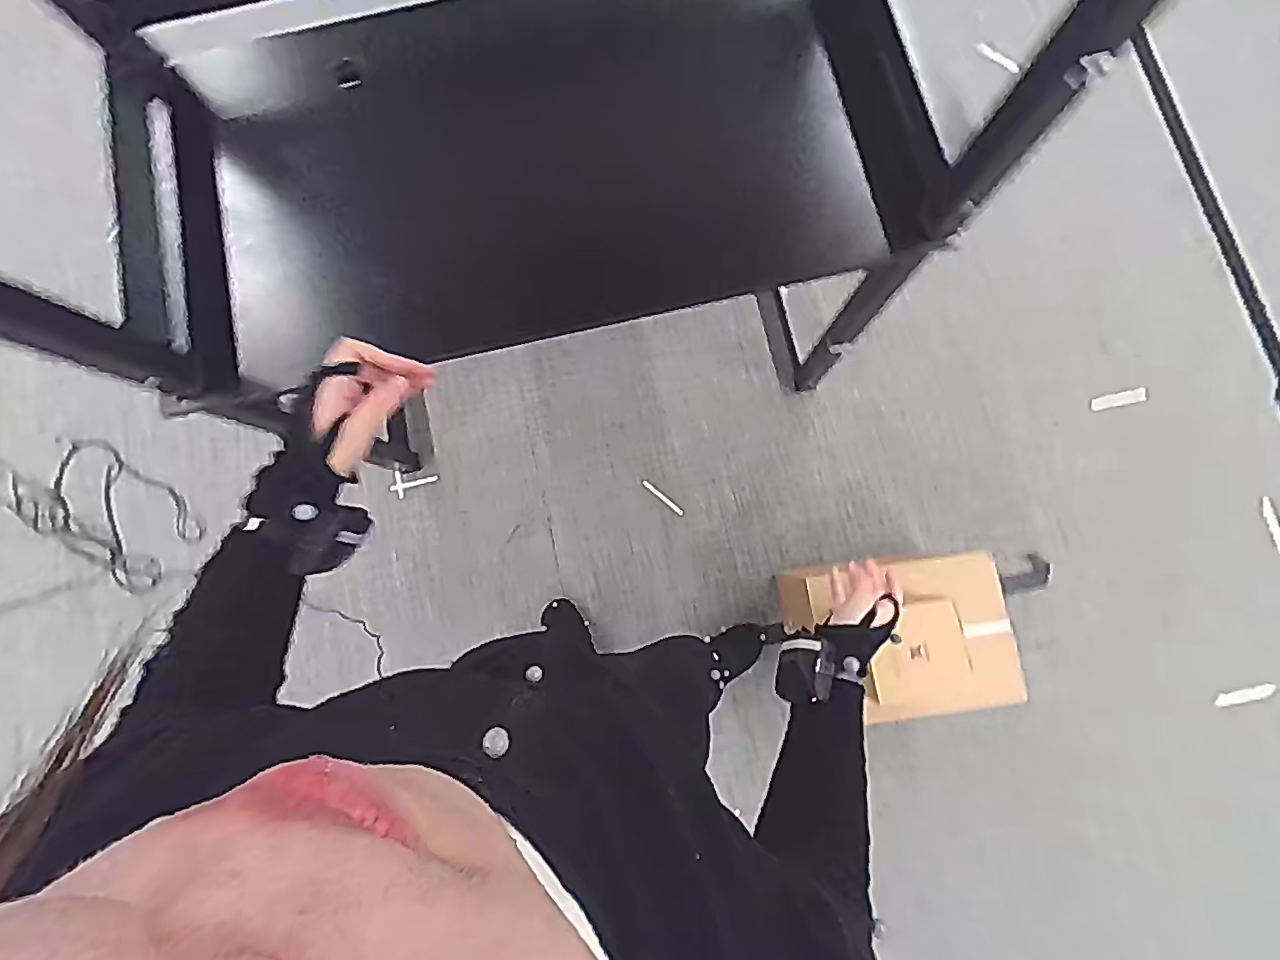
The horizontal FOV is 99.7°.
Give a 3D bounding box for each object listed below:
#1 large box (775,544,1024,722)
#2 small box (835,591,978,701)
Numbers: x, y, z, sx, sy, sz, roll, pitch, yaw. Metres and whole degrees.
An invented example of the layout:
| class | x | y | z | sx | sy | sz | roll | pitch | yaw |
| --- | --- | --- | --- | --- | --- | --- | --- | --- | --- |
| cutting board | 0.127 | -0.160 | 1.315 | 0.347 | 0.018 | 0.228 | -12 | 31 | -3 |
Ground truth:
| class | x | y | z | sx | sy | sz | roll | pitch | yaw |
| --- | --- | --- | --- | --- | --- | --- | --- | --- | --- |
| large box | 0.573 | 0.337 | 1.275 | 0.408 | 0.320 | 0.320 | -9 | 83 | 0 |
| small box | 0.498 | 0.308 | 1.034 | 0.179 | 0.176 | 0.168 | -9 | 81 | 1 |
